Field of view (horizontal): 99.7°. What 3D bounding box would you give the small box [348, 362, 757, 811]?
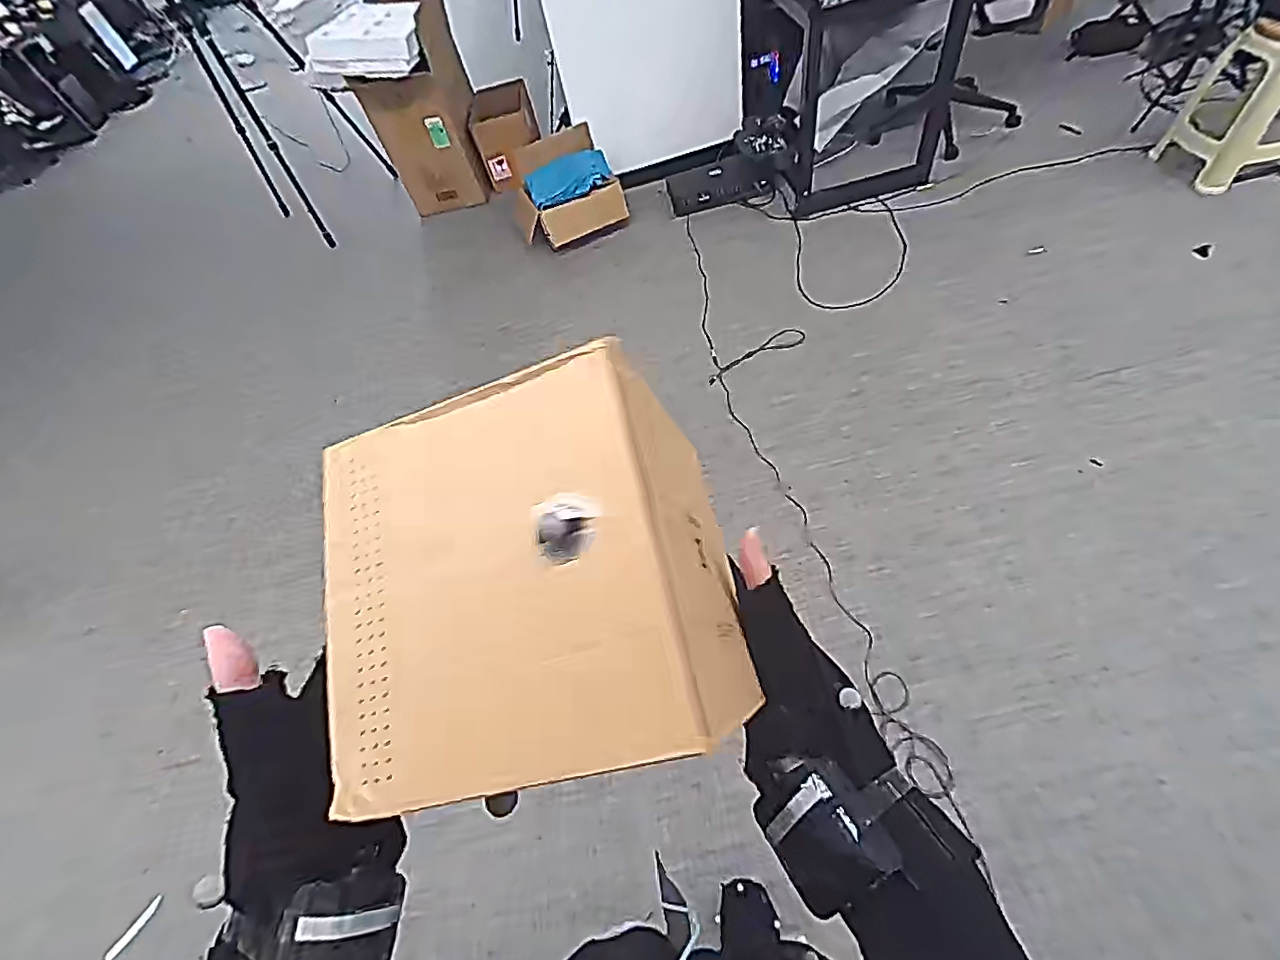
[{"bbox_3d":[-0.043,0.066,0.317,0.176,0.168,0.179,-17,69,13],"label":"small box"}]
